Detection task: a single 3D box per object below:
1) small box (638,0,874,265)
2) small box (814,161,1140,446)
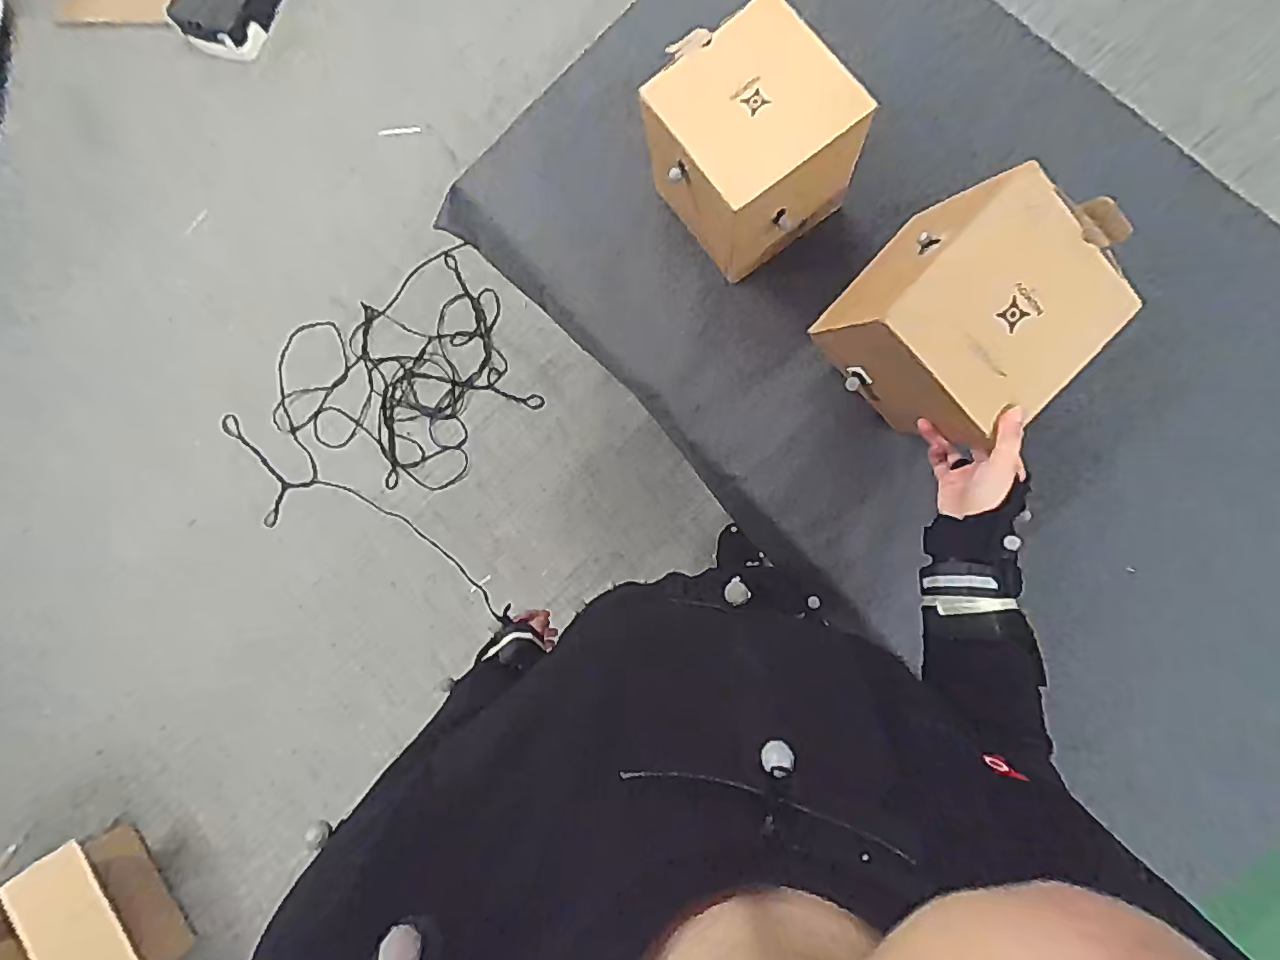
[{"bbox_3d":[0.123,-0.372,0.608,0.168,0.176,0.179,-35,80,4],"label":"small box"},{"bbox_3d":[0.309,-0.159,0.534,0.168,0.176,0.179,42,94,-11],"label":"small box"}]
